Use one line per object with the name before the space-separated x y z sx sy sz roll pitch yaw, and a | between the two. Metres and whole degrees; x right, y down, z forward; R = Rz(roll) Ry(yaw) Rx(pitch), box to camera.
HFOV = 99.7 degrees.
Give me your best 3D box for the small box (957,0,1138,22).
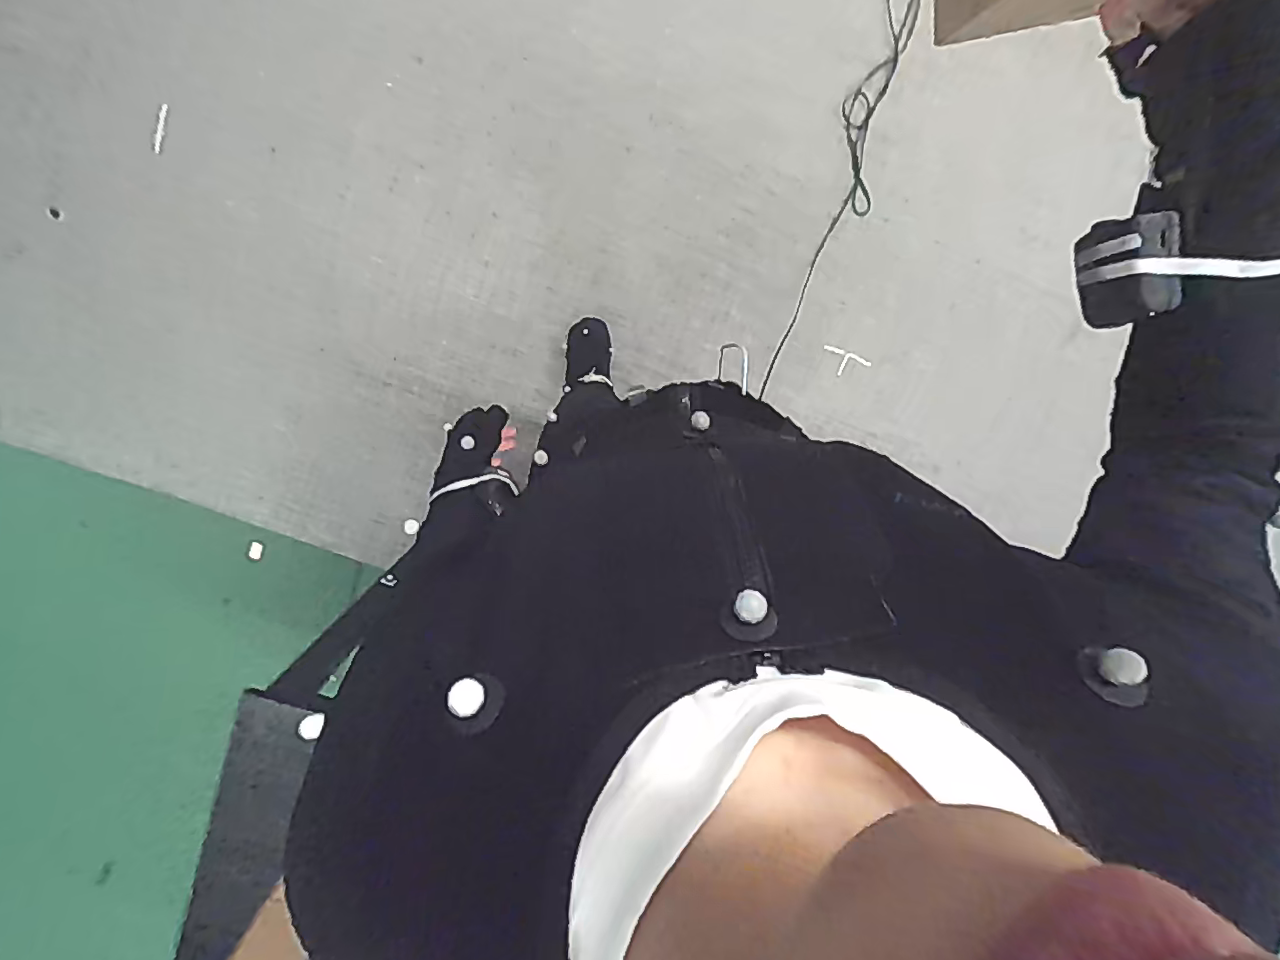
small box | 0.308 -0.410 0.316 0.168 0.176 0.179 -11 109 -2
